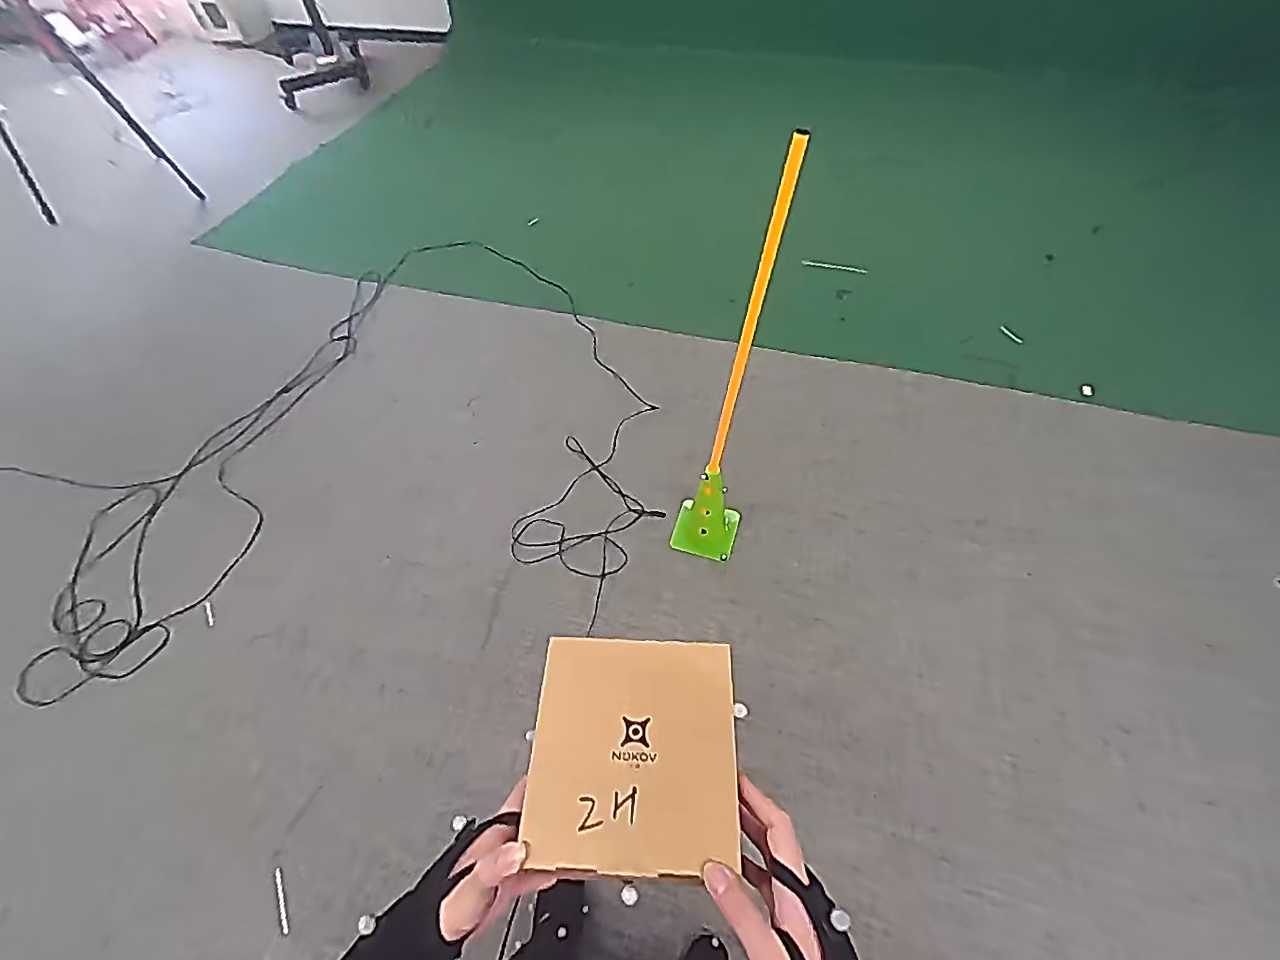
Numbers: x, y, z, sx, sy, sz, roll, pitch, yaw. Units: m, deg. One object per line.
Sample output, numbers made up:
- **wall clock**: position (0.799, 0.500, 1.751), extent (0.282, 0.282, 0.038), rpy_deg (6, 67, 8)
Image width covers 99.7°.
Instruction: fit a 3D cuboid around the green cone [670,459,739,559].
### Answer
- **green cone**: position (0.208, 0.058, 1.657), extent (0.202, 0.368, 0.200), rpy_deg (13, 56, 13)
